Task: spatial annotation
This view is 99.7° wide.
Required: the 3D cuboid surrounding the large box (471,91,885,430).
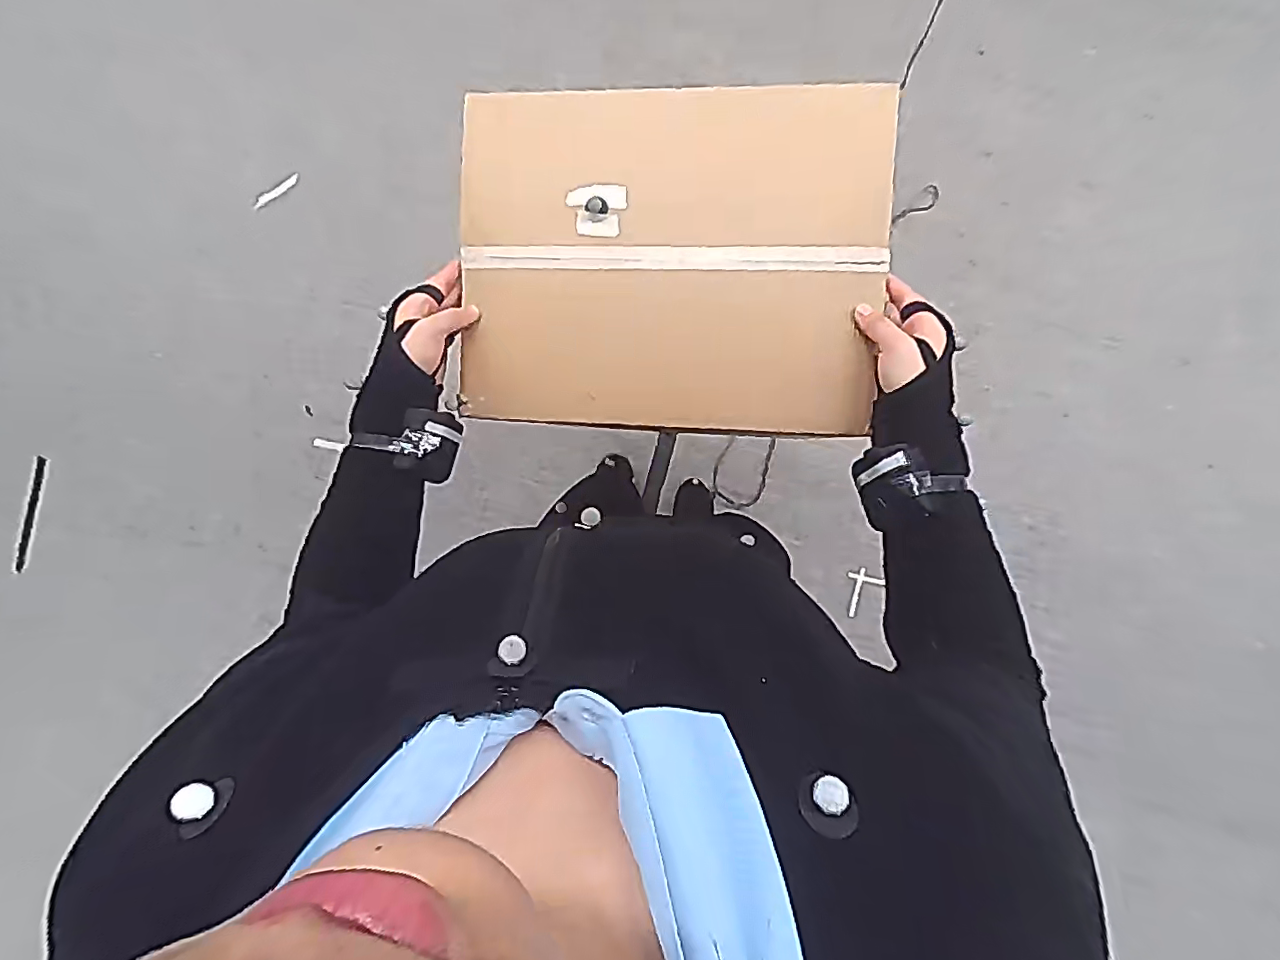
[{"bbox_3d":[0.045,-0.221,0.676,0.408,0.320,0.320,3,93,7],"label":"large box"}]
